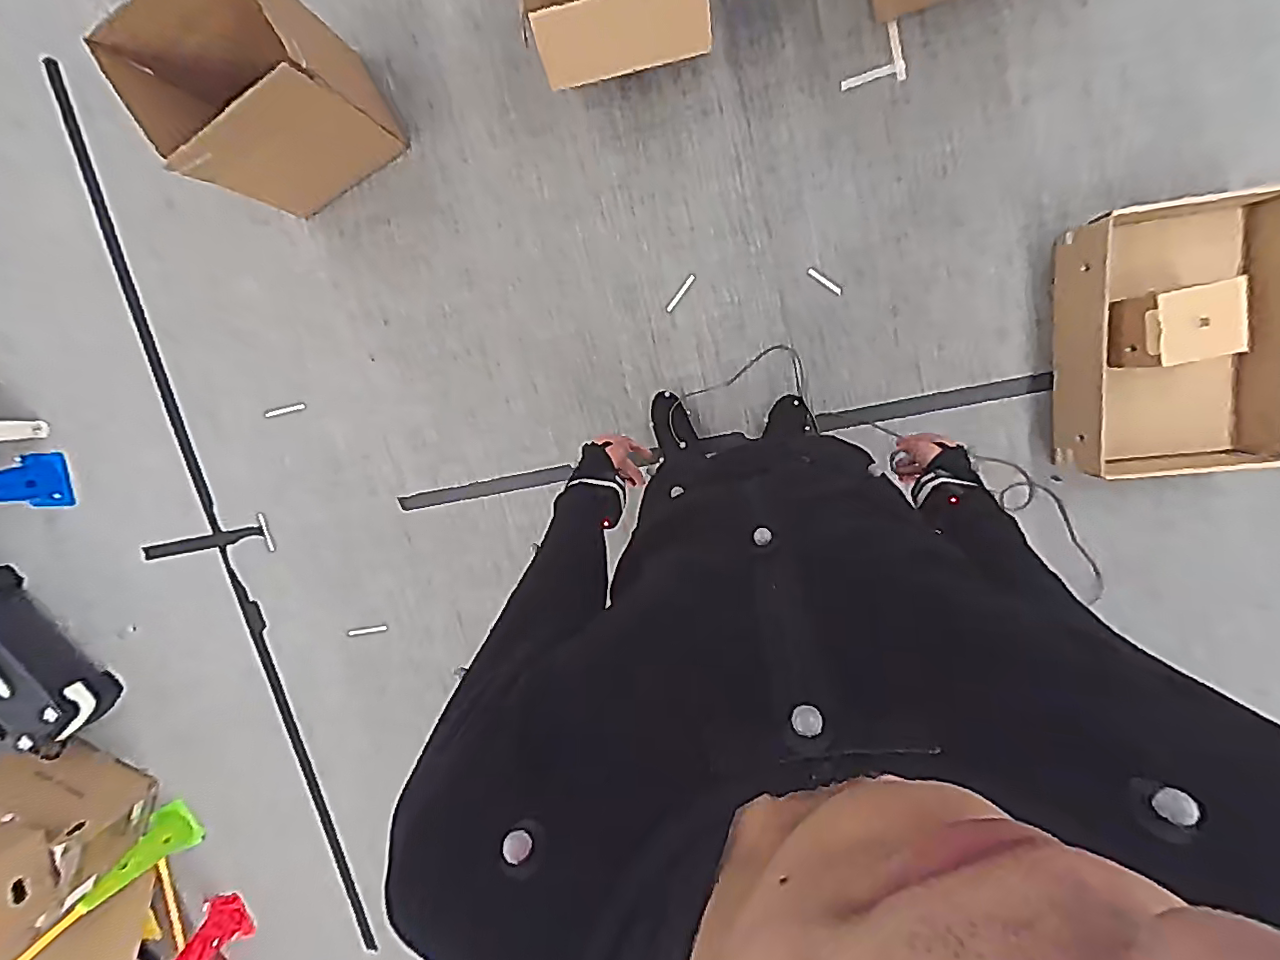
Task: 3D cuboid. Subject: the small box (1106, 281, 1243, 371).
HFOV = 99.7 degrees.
[{"bbox_3d":[1.248,-0.355,1.278,0.179,0.176,0.168,-11,100,10],"label":"small box"}]
